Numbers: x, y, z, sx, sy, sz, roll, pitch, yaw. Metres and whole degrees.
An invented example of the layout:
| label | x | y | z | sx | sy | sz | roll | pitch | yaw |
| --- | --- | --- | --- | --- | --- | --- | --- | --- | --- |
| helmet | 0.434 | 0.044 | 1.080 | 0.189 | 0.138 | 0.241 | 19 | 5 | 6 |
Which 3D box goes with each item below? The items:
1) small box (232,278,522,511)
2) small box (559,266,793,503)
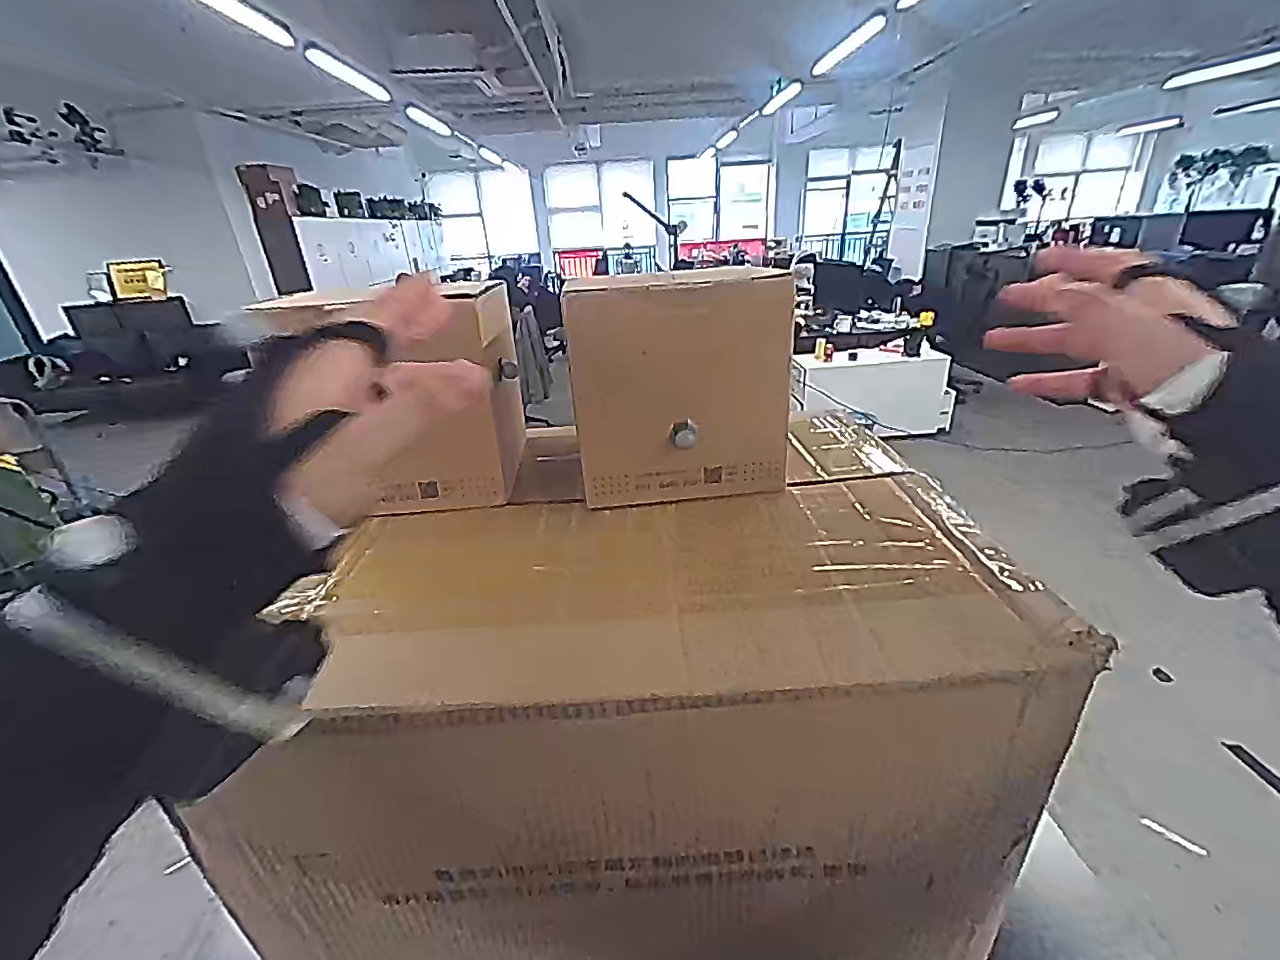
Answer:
| label | x | y | z | sx | sy | sz | roll | pitch | yaw |
| --- | --- | --- | --- | --- | --- | --- | --- | --- | --- |
| small box | -0.203 | -0.079 | 0.482 | 0.168 | 0.176 | 0.179 | -5 | 25 | -5 |
| small box | 0.024 | -0.093 | 0.478 | 0.168 | 0.176 | 0.179 | -6 | 23 | -3 |
